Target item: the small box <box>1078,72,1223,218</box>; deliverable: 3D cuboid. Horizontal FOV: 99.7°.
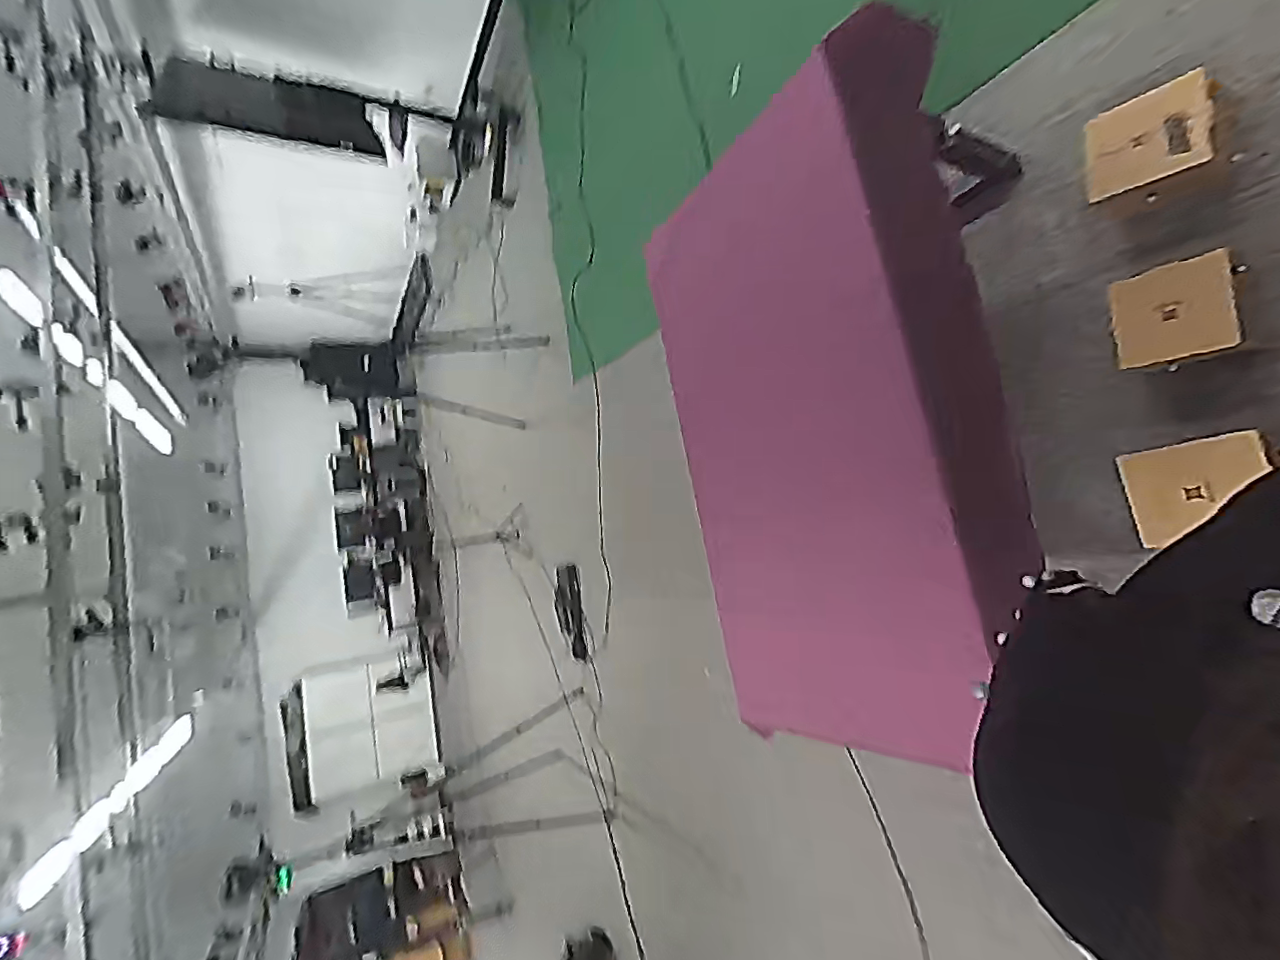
[{"bbox_3d":[1.003,-0.643,1.062,0.179,0.176,0.168,-3,92,59],"label":"small box"}]
